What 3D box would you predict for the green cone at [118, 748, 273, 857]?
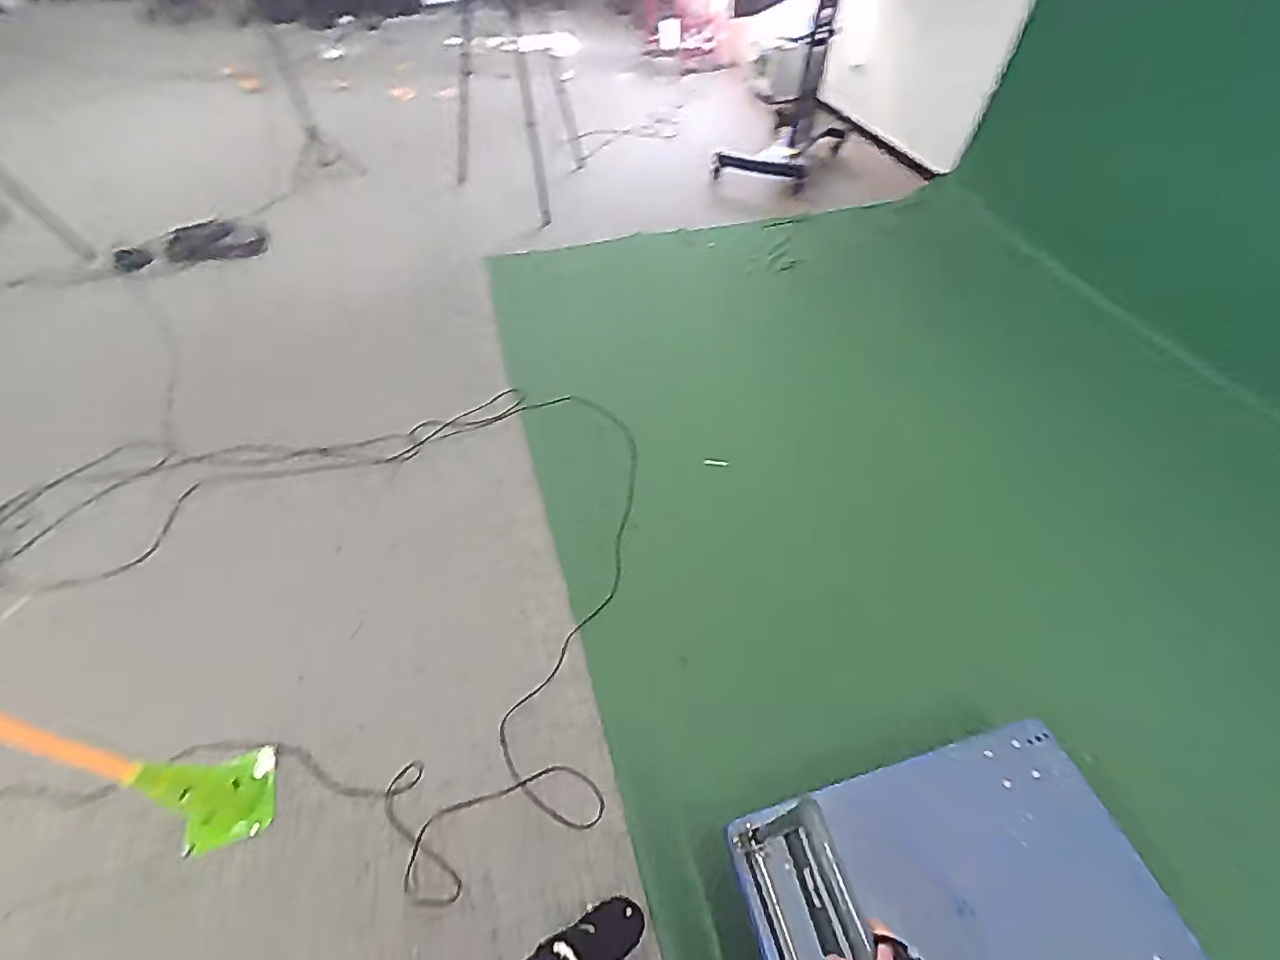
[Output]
[{"bbox_3d":[-1.052,0.710,1.253,0.200,0.368,0.202,-17,52,-14],"label":"green cone"}]
